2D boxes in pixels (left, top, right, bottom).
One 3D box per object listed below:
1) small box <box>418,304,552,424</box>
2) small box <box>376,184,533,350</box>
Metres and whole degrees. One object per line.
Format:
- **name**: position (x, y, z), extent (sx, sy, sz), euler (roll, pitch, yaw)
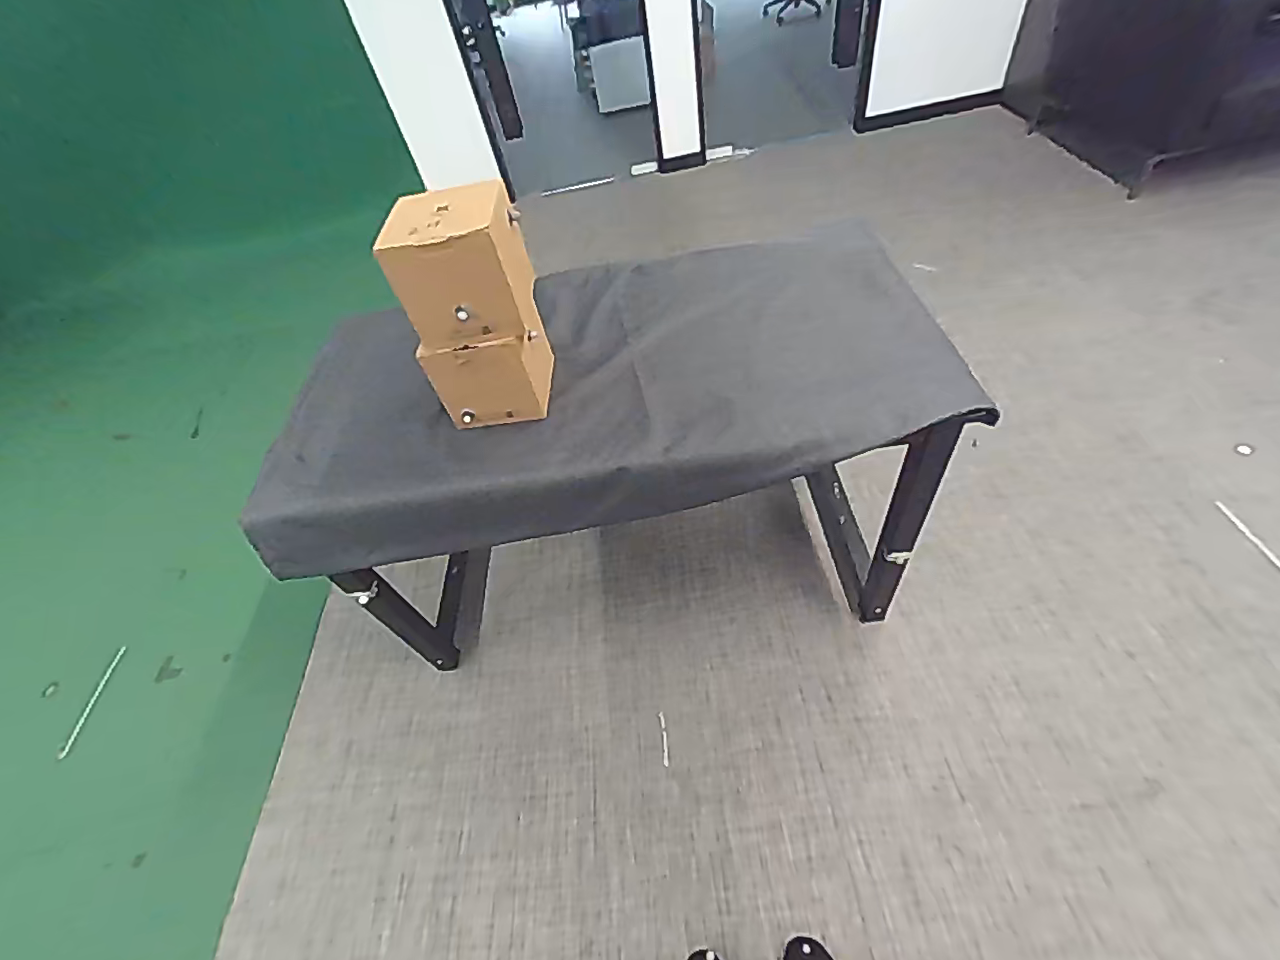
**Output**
- **small box**: position (-0.262, -0.214, 0.961), extent (0.168, 0.176, 0.179), euler (-6, 48, 6)
- **small box**: position (-0.272, -0.328, 0.841), extent (0.168, 0.176, 0.179), euler (-9, 49, 5)
